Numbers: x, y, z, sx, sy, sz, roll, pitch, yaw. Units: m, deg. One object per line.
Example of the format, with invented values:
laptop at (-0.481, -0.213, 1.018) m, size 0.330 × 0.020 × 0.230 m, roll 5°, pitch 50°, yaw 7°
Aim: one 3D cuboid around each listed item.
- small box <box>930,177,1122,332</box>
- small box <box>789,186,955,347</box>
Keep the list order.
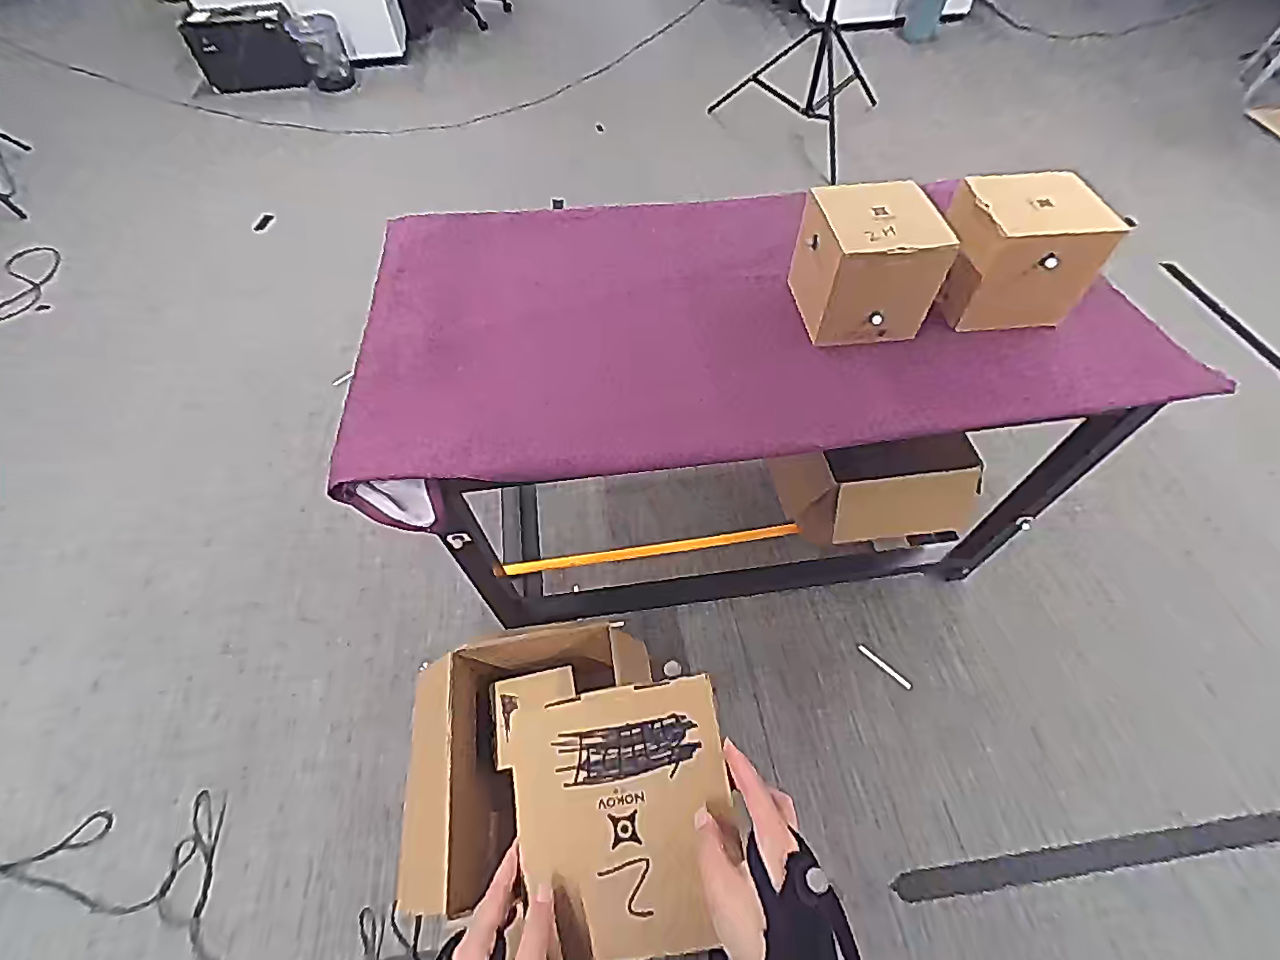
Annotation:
small box at (0.586, -0.355, 0.863) m, size 0.179 × 0.176 × 0.168 m, roll -4°, pitch 55°, yaw -1°
small box at (0.347, -0.333, 0.851) m, size 0.168 × 0.176 × 0.179 m, roll -5°, pitch 56°, yaw -2°
